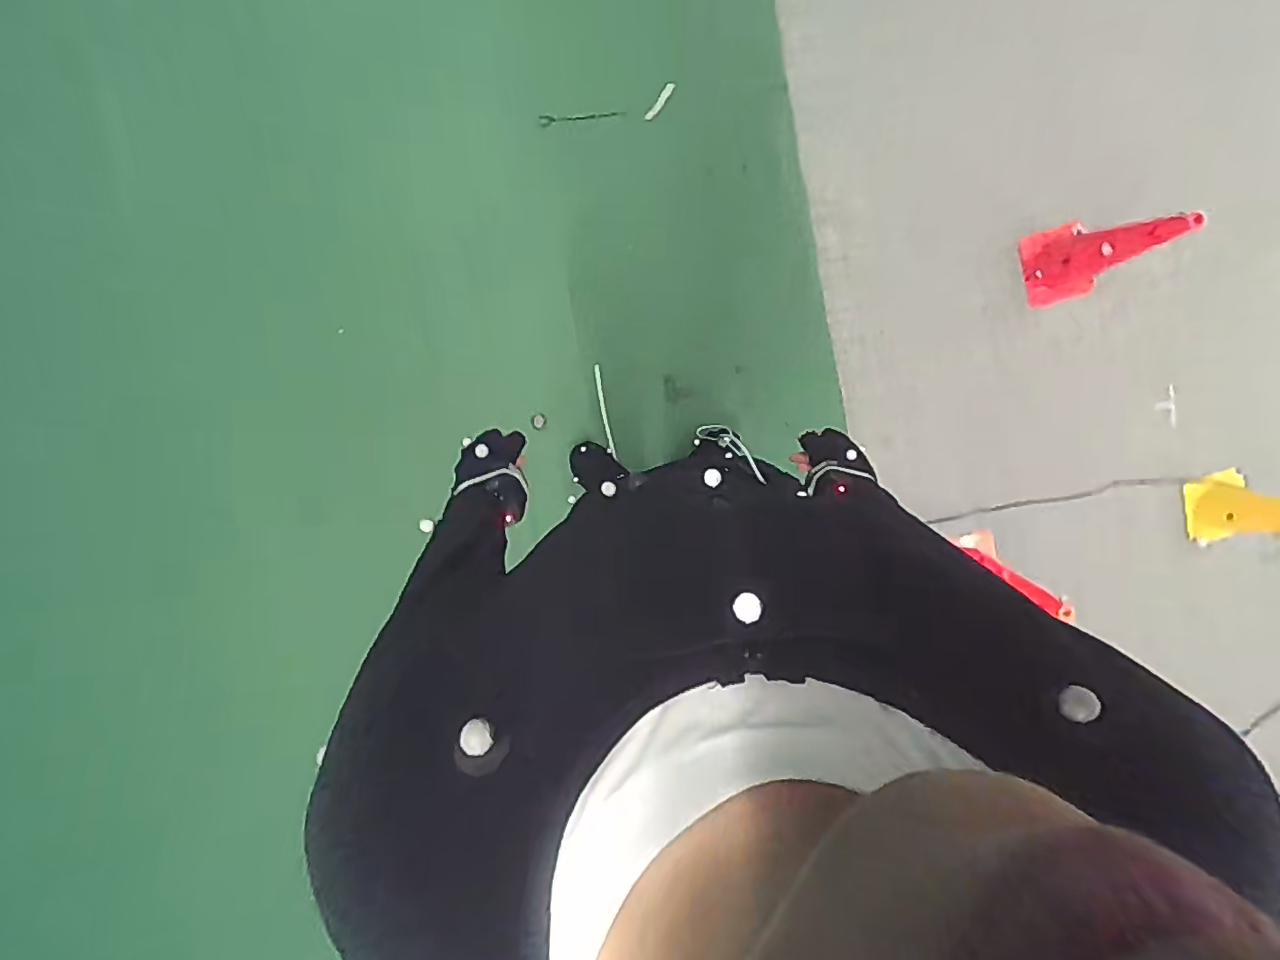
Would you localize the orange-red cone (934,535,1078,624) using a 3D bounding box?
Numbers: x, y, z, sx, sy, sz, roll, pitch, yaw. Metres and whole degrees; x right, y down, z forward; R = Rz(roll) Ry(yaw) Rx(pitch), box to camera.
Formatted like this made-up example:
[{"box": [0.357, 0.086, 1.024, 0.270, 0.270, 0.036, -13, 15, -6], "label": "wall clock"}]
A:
[{"box": [0.981, 0.290, 1.420, 0.199, 0.360, 0.198, -13, 99, -4], "label": "orange-red cone"}]

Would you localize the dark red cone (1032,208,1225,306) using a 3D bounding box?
[{"box": [1.184, -0.573, 1.311, 0.201, 0.394, 0.202, -18, 98, -1], "label": "dark red cone"}]
